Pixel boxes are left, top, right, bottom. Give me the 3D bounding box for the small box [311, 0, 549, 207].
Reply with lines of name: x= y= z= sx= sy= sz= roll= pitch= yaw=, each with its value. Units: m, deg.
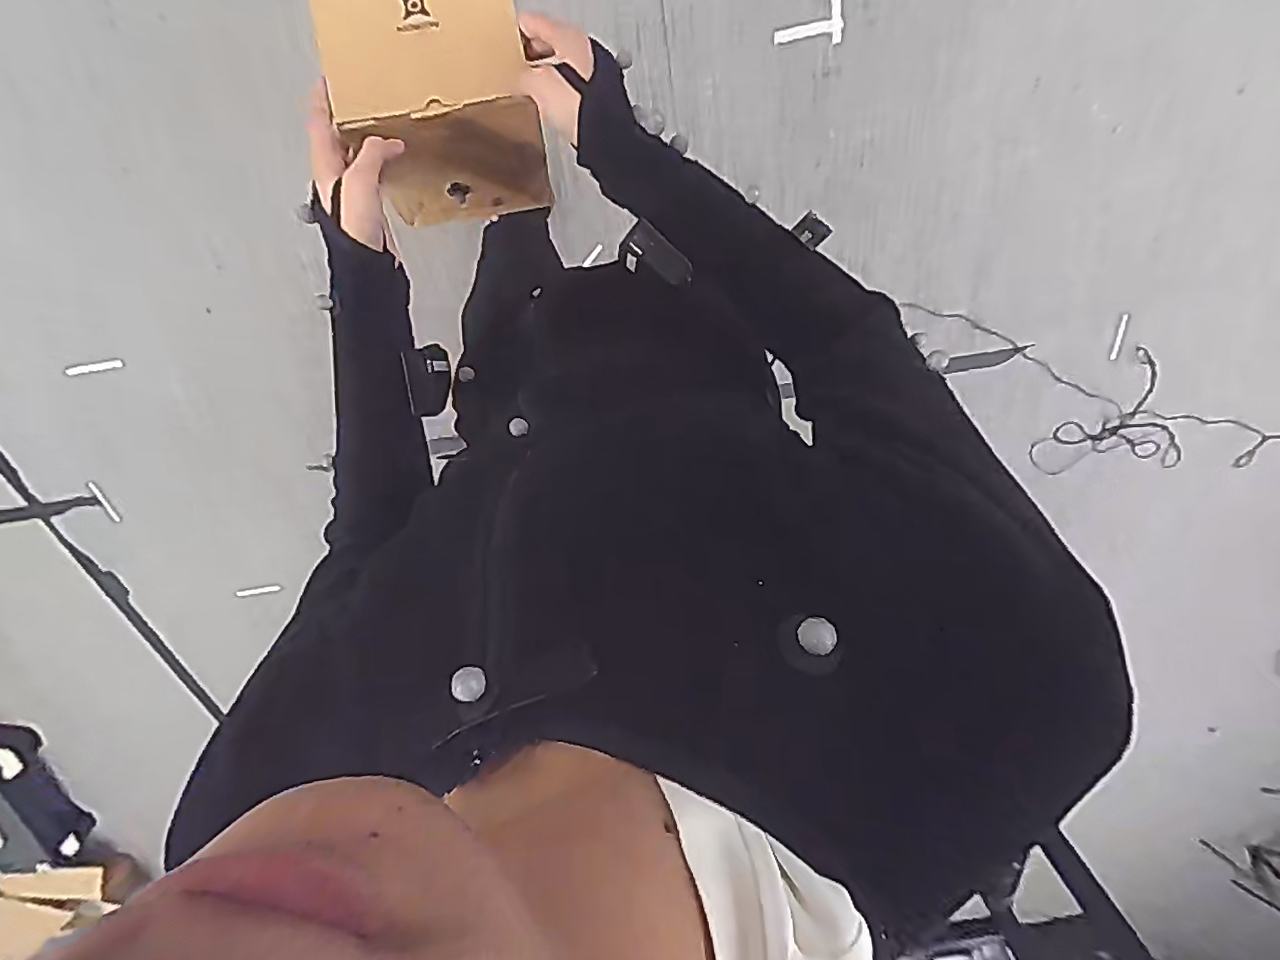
small box: x=-0.189 y=-0.398 z=0.517 sx=0.168 sy=0.176 sz=0.179 roll=-12 pitch=89 yaw=-4
